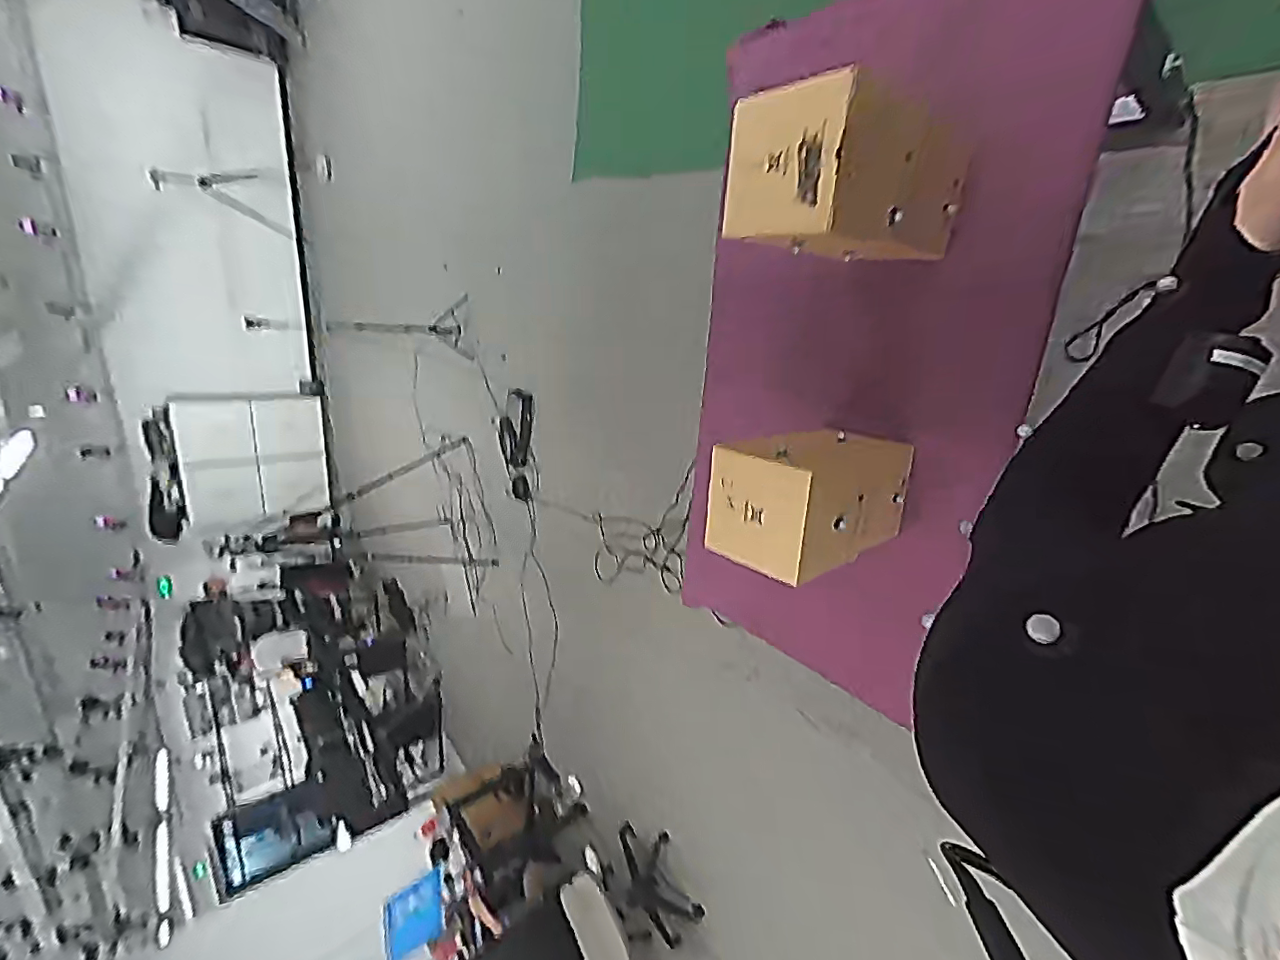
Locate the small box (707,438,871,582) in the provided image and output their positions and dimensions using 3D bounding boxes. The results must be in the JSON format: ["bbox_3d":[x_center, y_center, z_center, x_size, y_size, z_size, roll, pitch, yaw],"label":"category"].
[{"bbox_3d":[0.229,0.033,0.833,0.179,0.176,0.168,20,113,47],"label":"small box"}]

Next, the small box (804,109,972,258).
[{"bbox_3d":[0.364,-0.435,0.824,0.179,0.176,0.168,26,119,46],"label":"small box"}]

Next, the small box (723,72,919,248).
[{"bbox_3d":[0.238,-0.408,0.722,0.179,0.176,0.168,26,119,48],"label":"small box"}]
